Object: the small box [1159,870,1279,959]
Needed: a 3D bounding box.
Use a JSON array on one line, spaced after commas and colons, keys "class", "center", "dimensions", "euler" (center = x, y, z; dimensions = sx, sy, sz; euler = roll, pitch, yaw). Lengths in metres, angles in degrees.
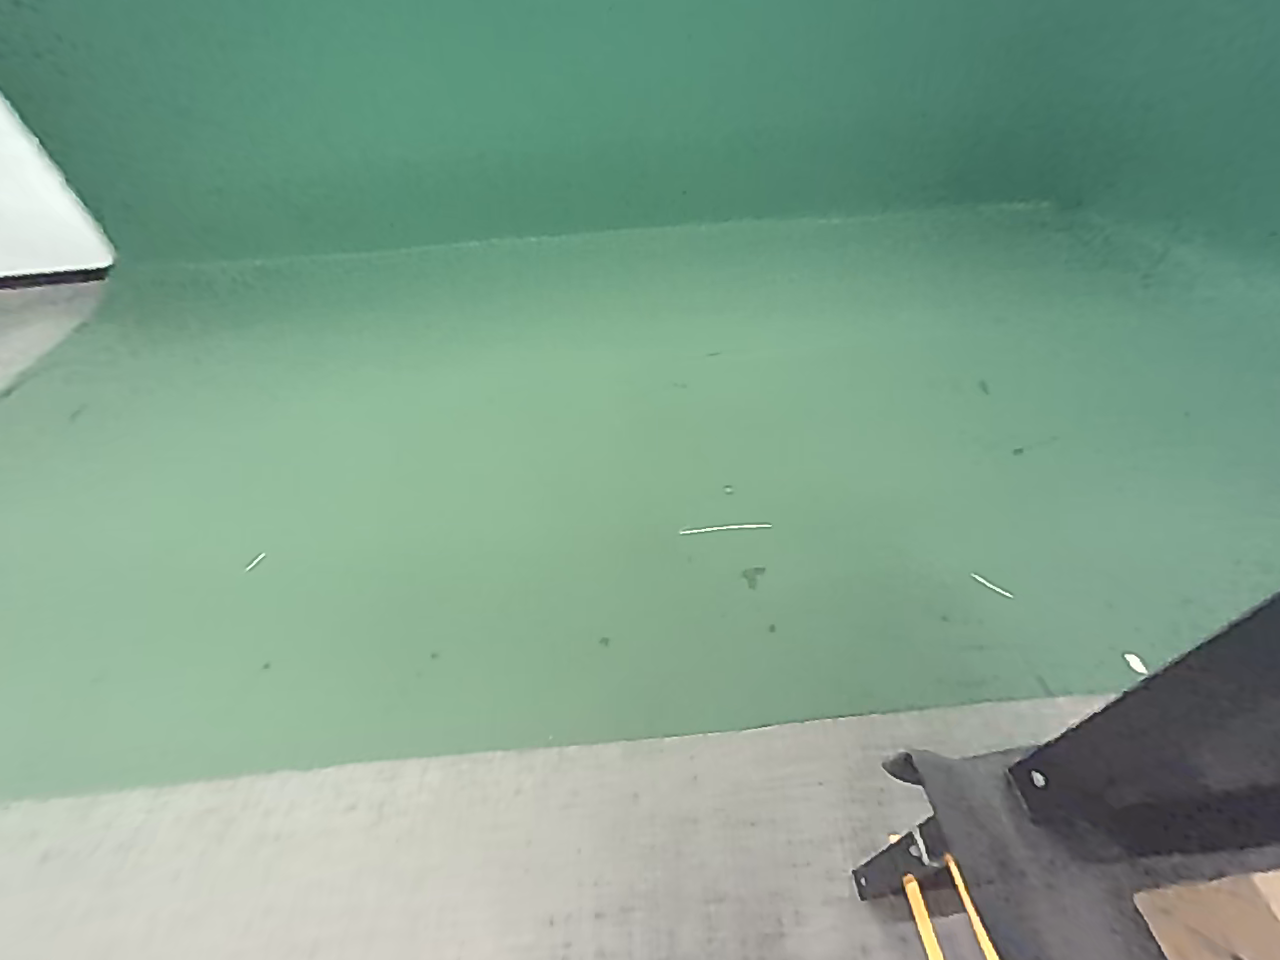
[{"class": "small box", "center": [0.612, 0.439, 0.461], "dimensions": [0.179, 0.176, 0.168], "euler": [-6, 47, -2]}]
